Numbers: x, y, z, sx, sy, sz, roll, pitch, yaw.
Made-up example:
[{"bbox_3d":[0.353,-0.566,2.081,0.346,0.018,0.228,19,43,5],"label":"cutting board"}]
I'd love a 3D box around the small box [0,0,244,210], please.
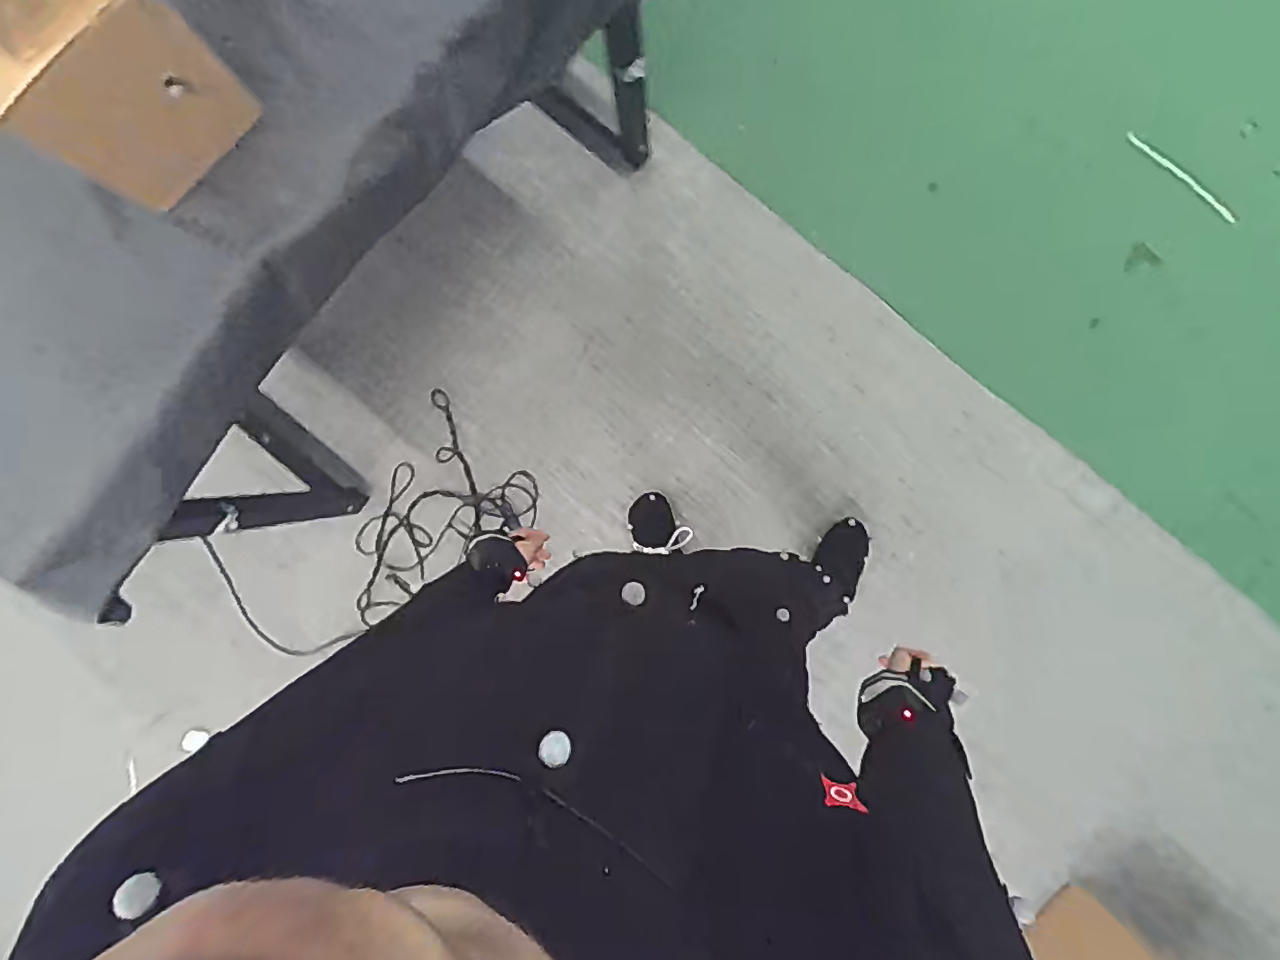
[{"bbox_3d":[-0.567,-0.432,0.563,0.179,0.176,0.168,-43,87,4],"label":"small box"}]

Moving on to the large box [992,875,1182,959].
[{"bbox_3d":[1.031,1.197,1.168,0.320,0.320,0.408,39,94,3],"label":"large box"}]
